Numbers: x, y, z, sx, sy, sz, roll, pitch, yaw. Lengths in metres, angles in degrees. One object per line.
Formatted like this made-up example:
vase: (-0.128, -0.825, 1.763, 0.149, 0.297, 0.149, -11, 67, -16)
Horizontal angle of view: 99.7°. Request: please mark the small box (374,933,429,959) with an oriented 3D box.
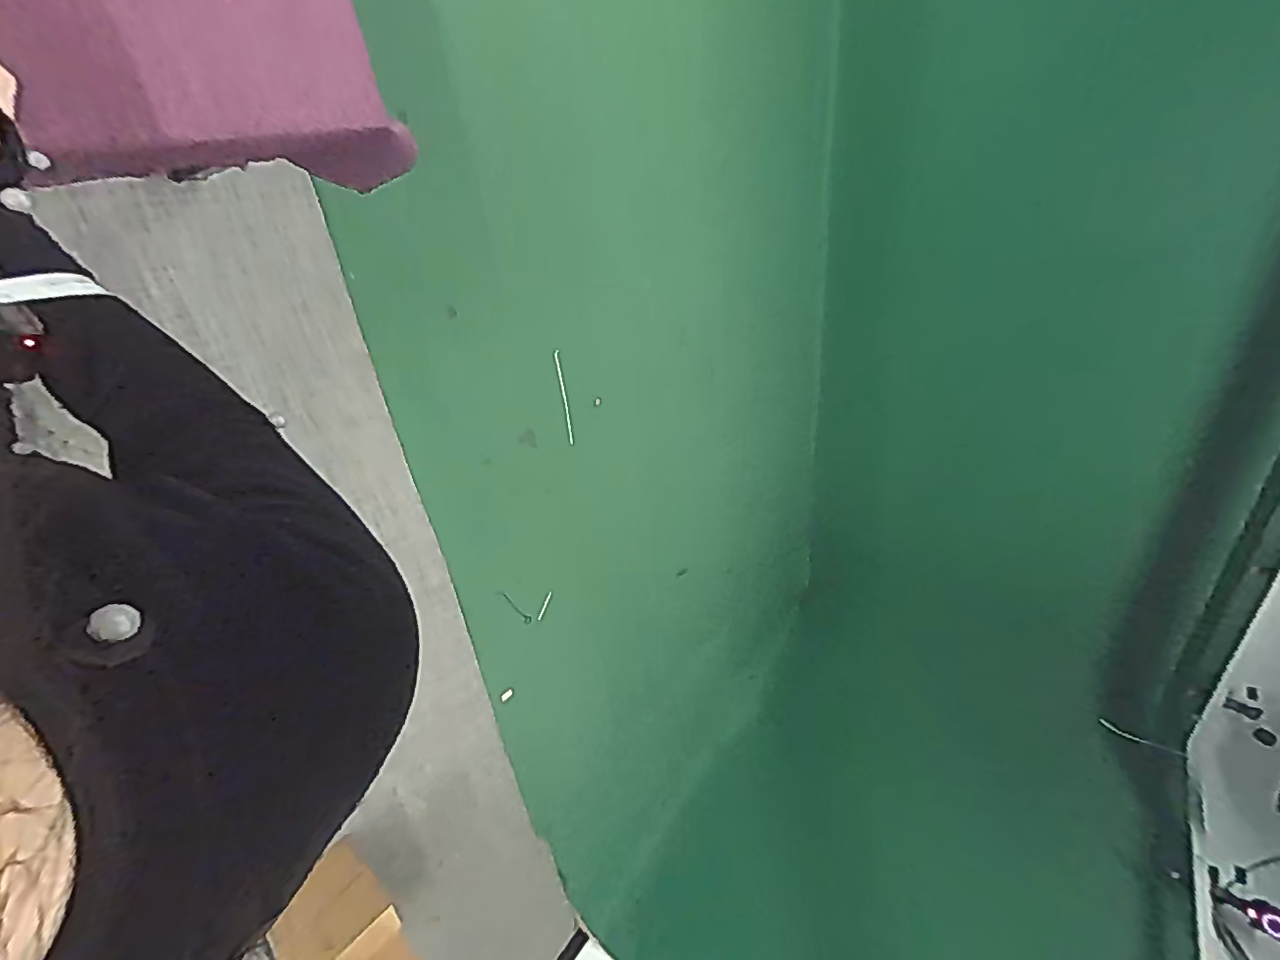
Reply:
small box: (-0.671, 1.428, 1.509, 0.168, 0.176, 0.179, -31, 128, -43)
